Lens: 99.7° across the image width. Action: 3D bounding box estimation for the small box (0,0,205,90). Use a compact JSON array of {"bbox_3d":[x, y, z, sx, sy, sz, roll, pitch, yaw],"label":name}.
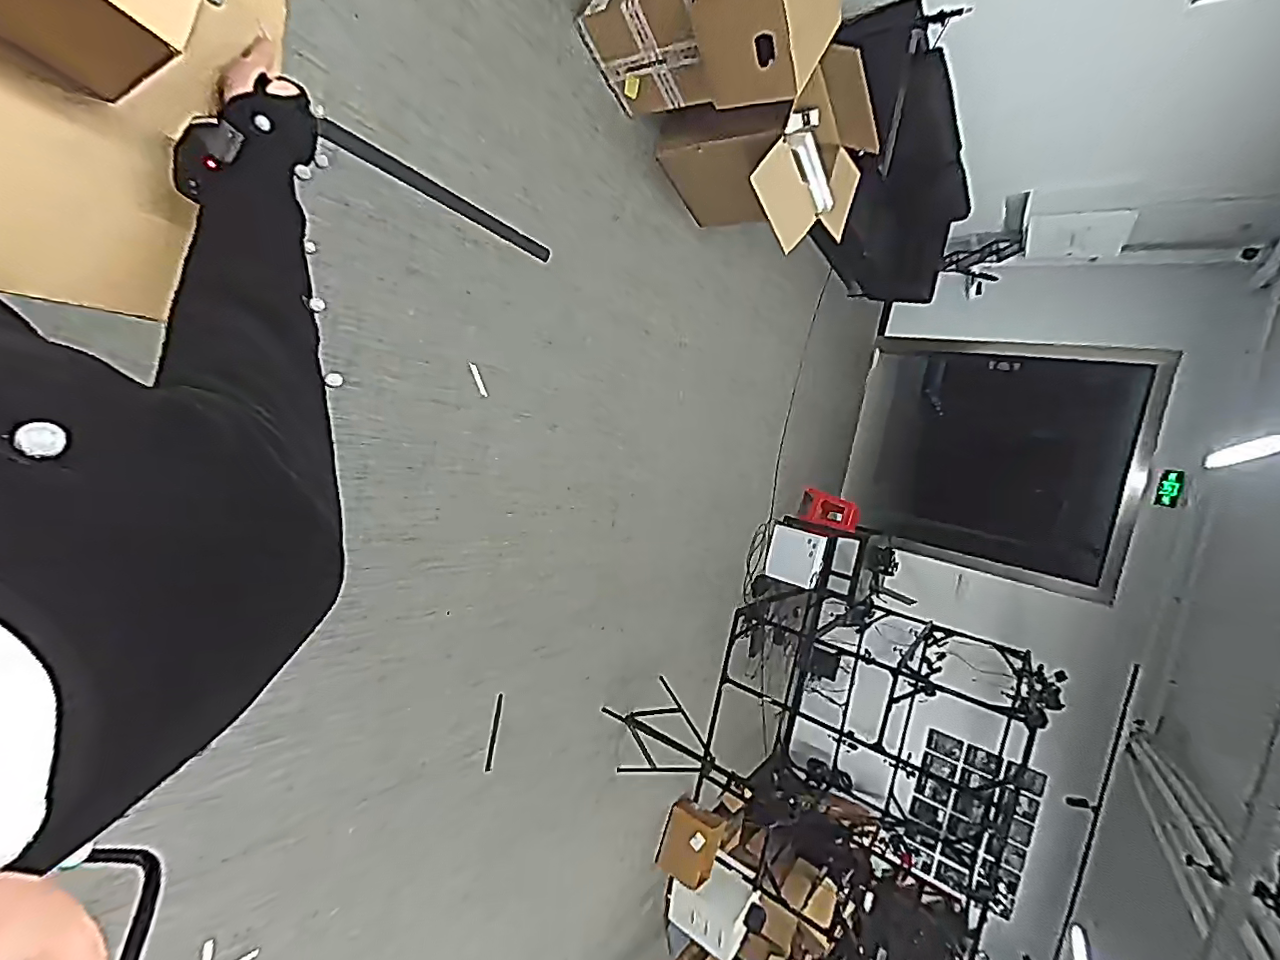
[{"bbox_3d":[-0.421,-0.420,0.375,0.179,0.176,0.168,21,81,-56],"label":"small box"}]
